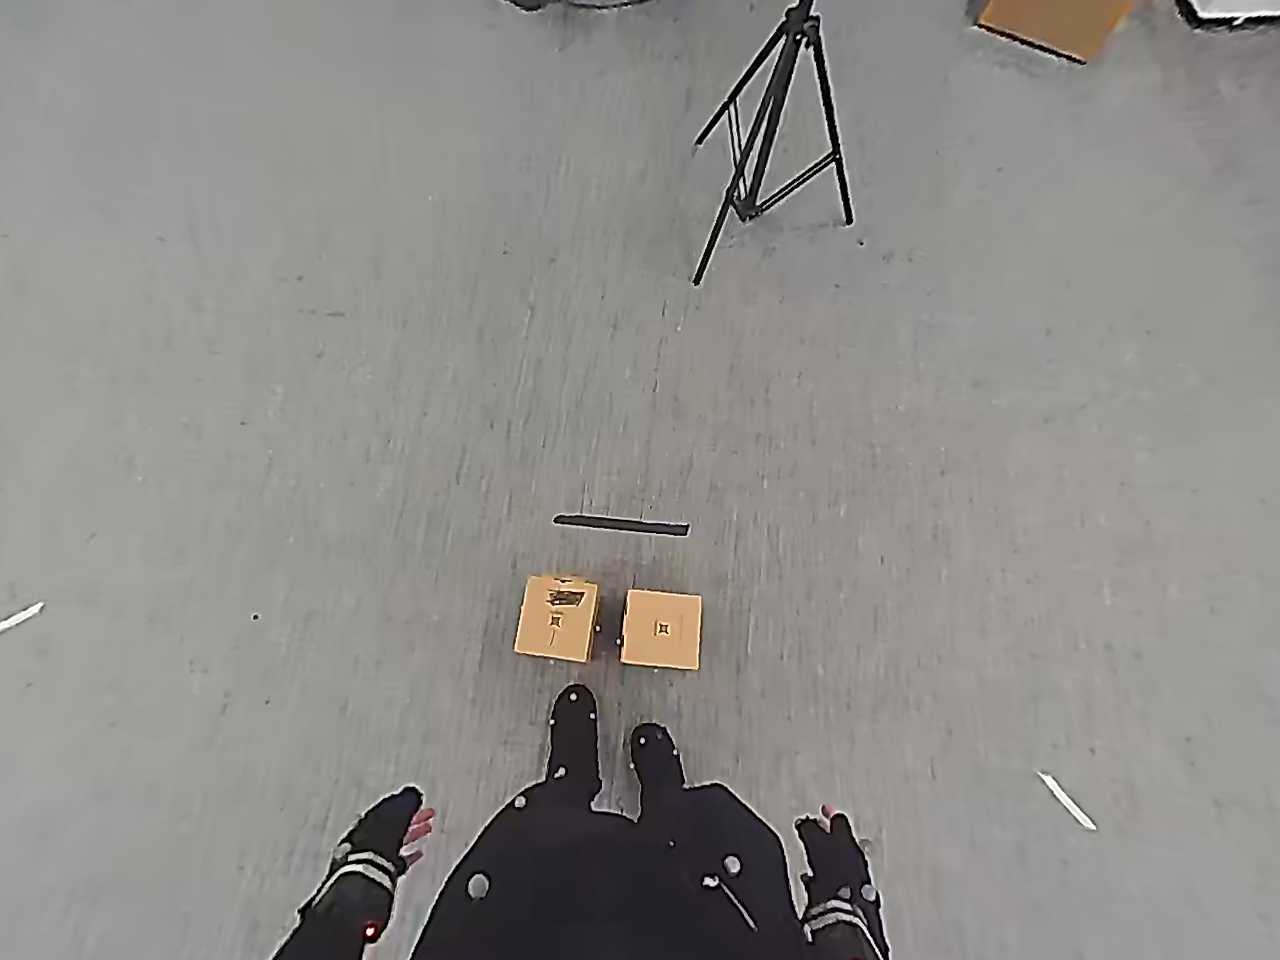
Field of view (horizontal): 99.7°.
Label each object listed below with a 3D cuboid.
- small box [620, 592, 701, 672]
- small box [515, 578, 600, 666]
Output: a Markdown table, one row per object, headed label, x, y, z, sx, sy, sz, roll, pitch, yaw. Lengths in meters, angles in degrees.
| label | x | y | z | sx | sy | sz | roll | pitch | yaw |
| --- | --- | --- | --- | --- | --- | --- | --- | --- | --- |
| small box | 0.047 | 0.368 | 1.306 | 0.179 | 0.176 | 0.168 | 5 | 73 | -1 |
| small box | -0.190 | 0.346 | 1.306 | 0.168 | 0.176 | 0.179 | 8 | 72 | 2 |
